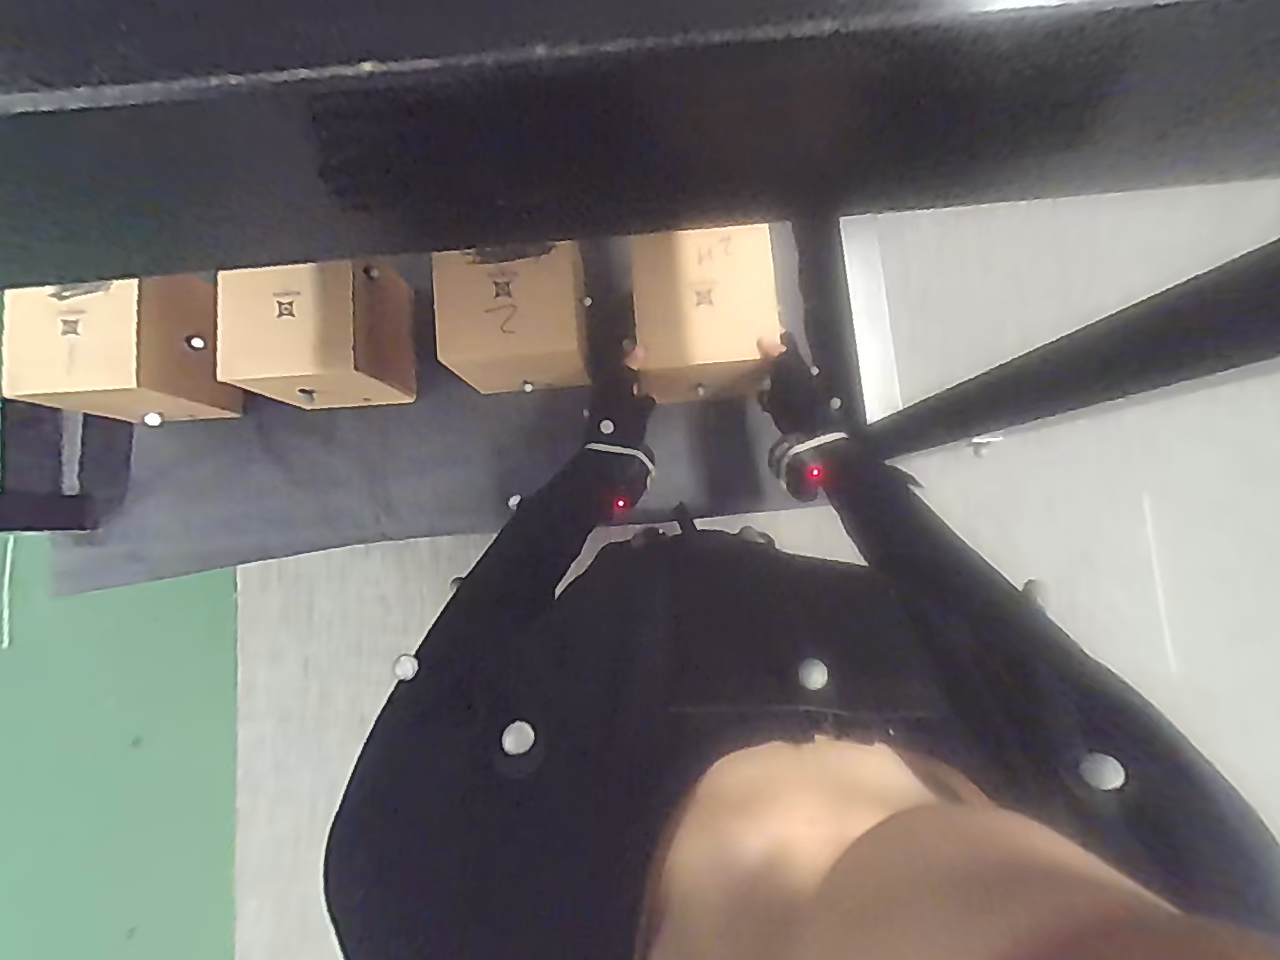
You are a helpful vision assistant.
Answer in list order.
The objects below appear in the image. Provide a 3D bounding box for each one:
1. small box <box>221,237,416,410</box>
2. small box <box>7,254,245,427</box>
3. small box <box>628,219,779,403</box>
[{"bbox_3d":[-0.415,-0.195,0.724,0.168,0.176,0.179,-4,84,1],"label":"small box"},{"bbox_3d":[-0.667,-0.176,0.726,0.168,0.176,0.179,-3,85,1],"label":"small box"},{"bbox_3d":[0.077,-0.205,0.709,0.168,0.176,0.179,-5,81,1],"label":"small box"}]
